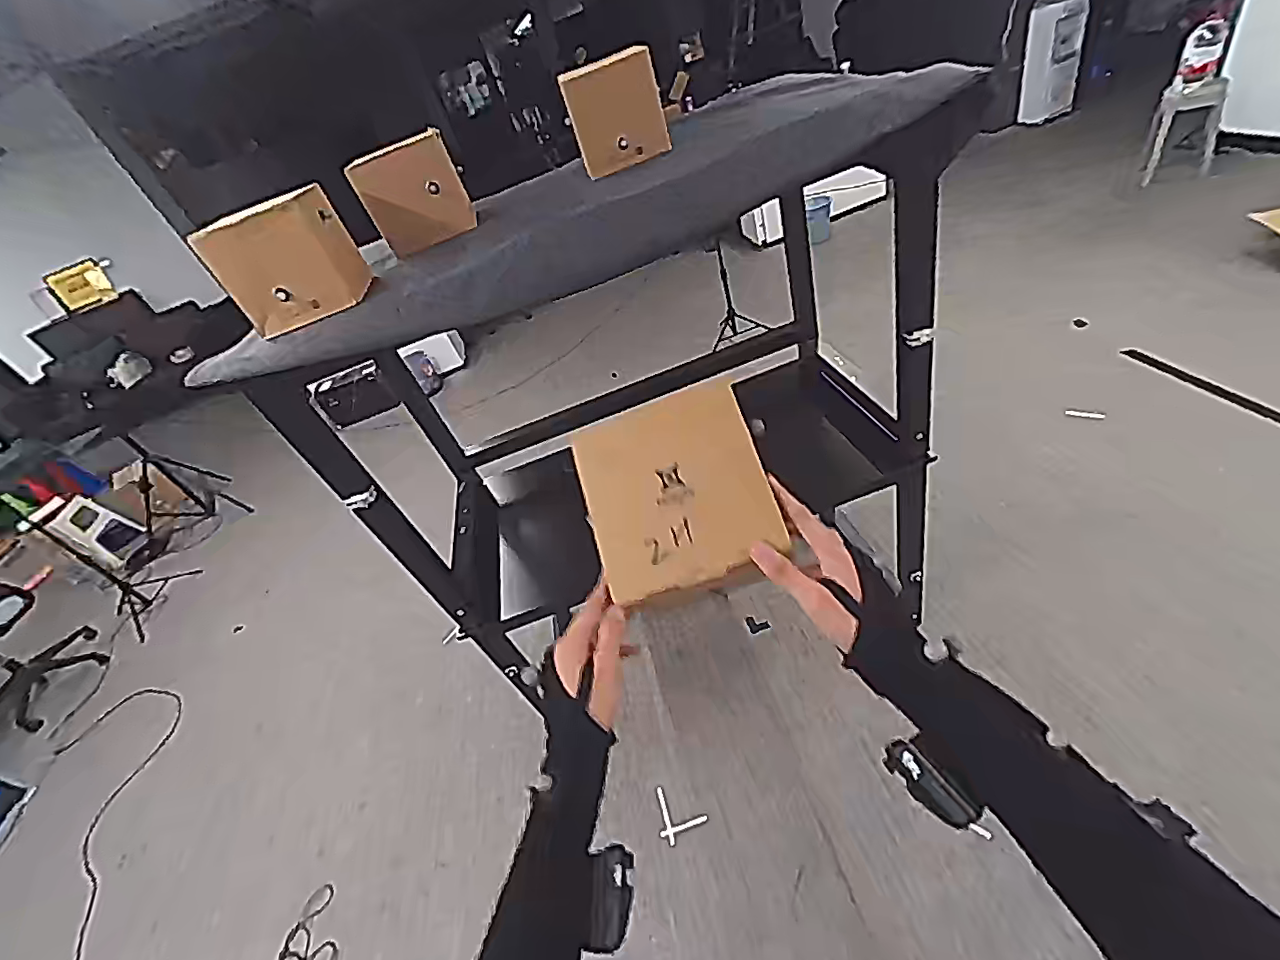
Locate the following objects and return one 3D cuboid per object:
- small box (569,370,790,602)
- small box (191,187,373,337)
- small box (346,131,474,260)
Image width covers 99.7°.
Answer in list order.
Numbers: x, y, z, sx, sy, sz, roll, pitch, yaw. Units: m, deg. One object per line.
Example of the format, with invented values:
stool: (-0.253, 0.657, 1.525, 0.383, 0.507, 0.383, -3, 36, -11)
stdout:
small box: (0.046, 0.019, 0.567, 0.168, 0.176, 0.179, -20, 72, 9)
small box: (-0.573, -0.361, 0.897, 0.168, 0.176, 0.179, -22, 38, -2)
small box: (-0.443, -0.565, 1.075, 0.179, 0.176, 0.168, -22, 39, -2)
